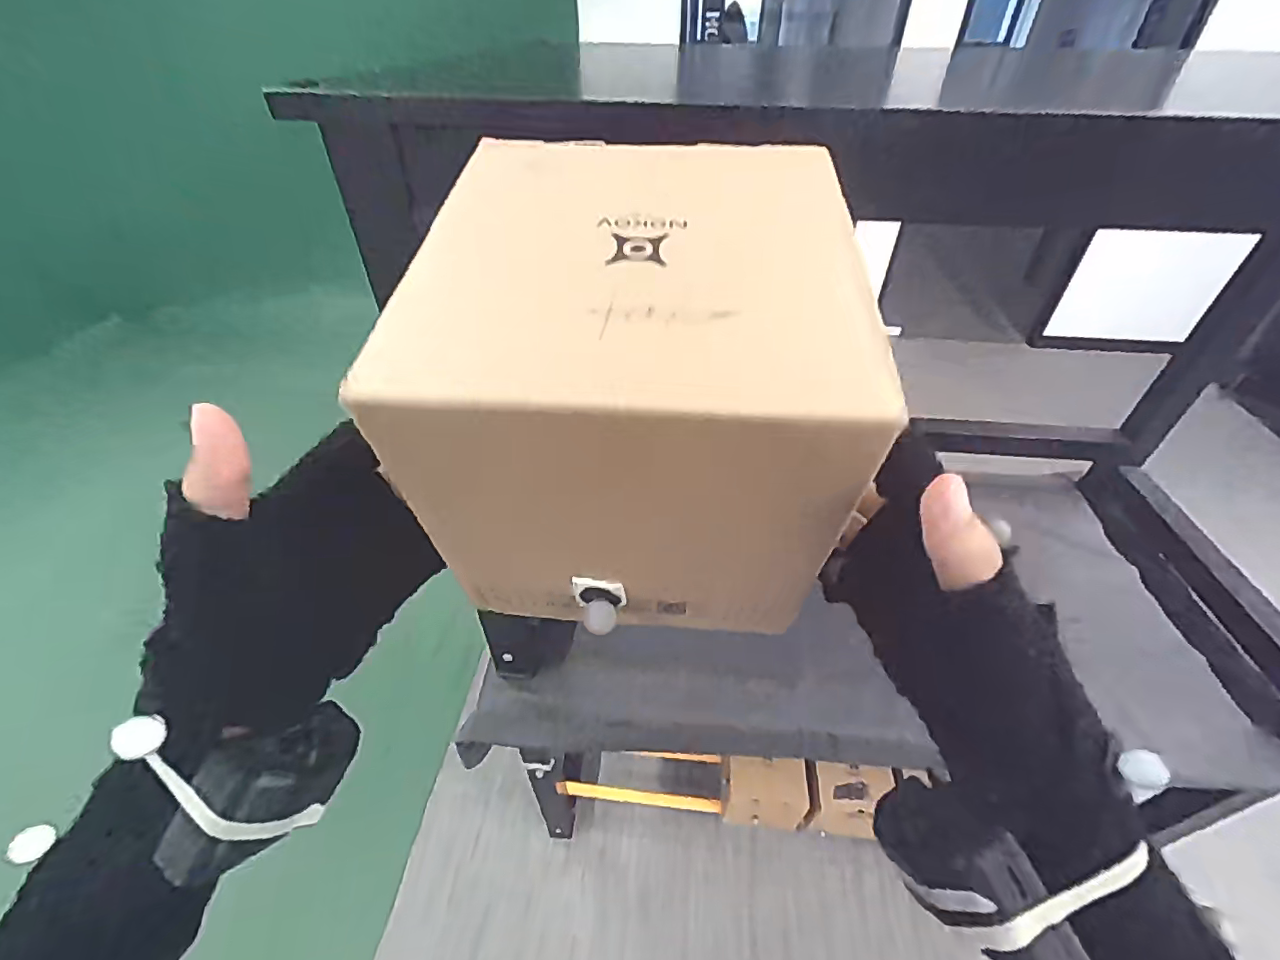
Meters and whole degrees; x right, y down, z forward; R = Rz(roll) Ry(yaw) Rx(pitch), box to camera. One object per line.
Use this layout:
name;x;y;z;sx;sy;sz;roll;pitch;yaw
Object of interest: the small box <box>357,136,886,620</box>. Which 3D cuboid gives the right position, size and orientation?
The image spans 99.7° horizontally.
small box;-0.002;-0.047;0.276;0.168;0.176;0.179;2;55;3
